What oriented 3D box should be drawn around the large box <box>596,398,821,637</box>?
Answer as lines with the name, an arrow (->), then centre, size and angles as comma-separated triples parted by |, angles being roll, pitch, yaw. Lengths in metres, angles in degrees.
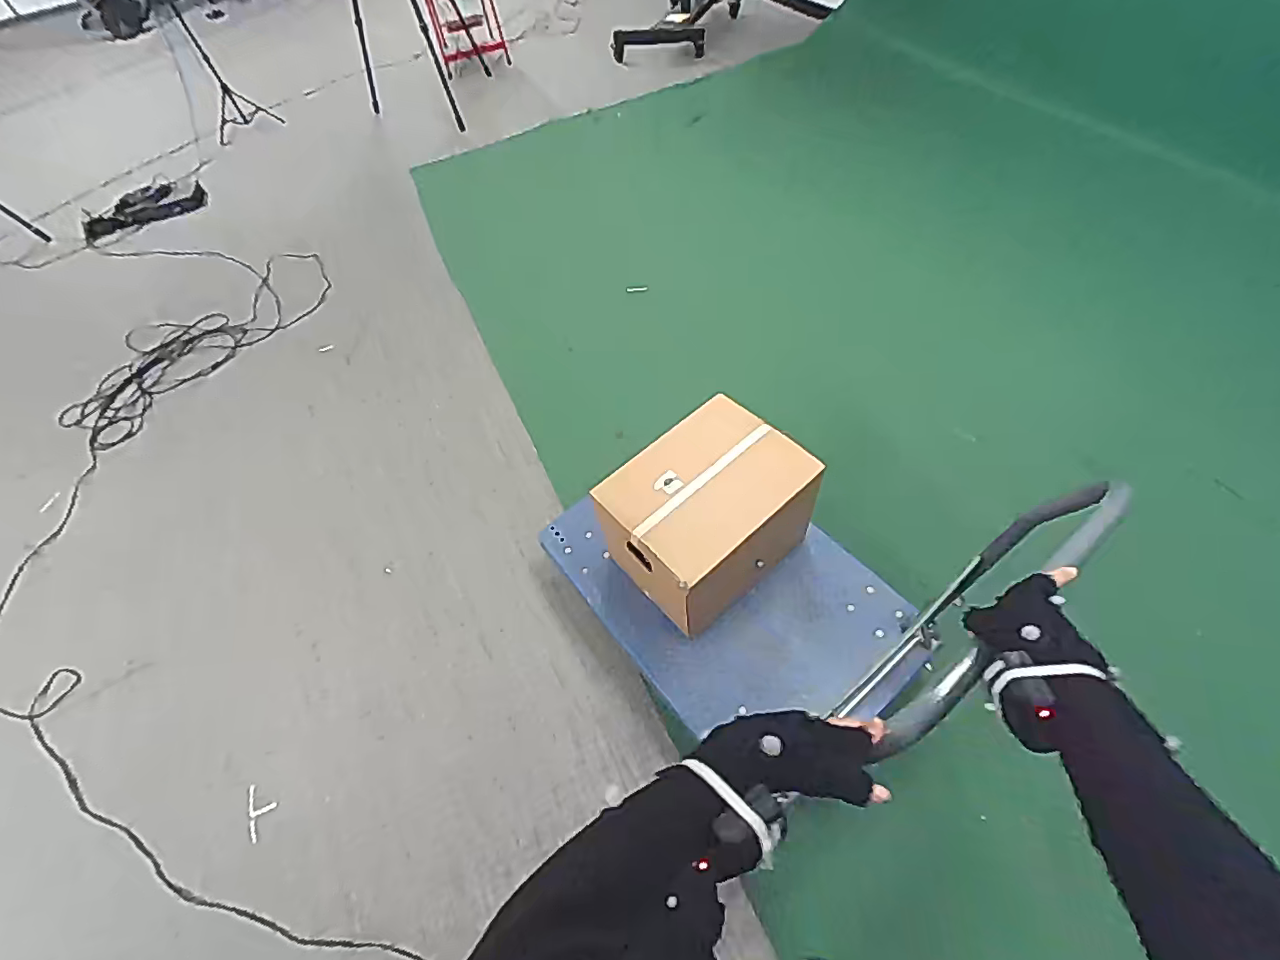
large box -> 0.162, 0.090, 1.284 | 0.408, 0.320, 0.320 | -39, 59, -18
